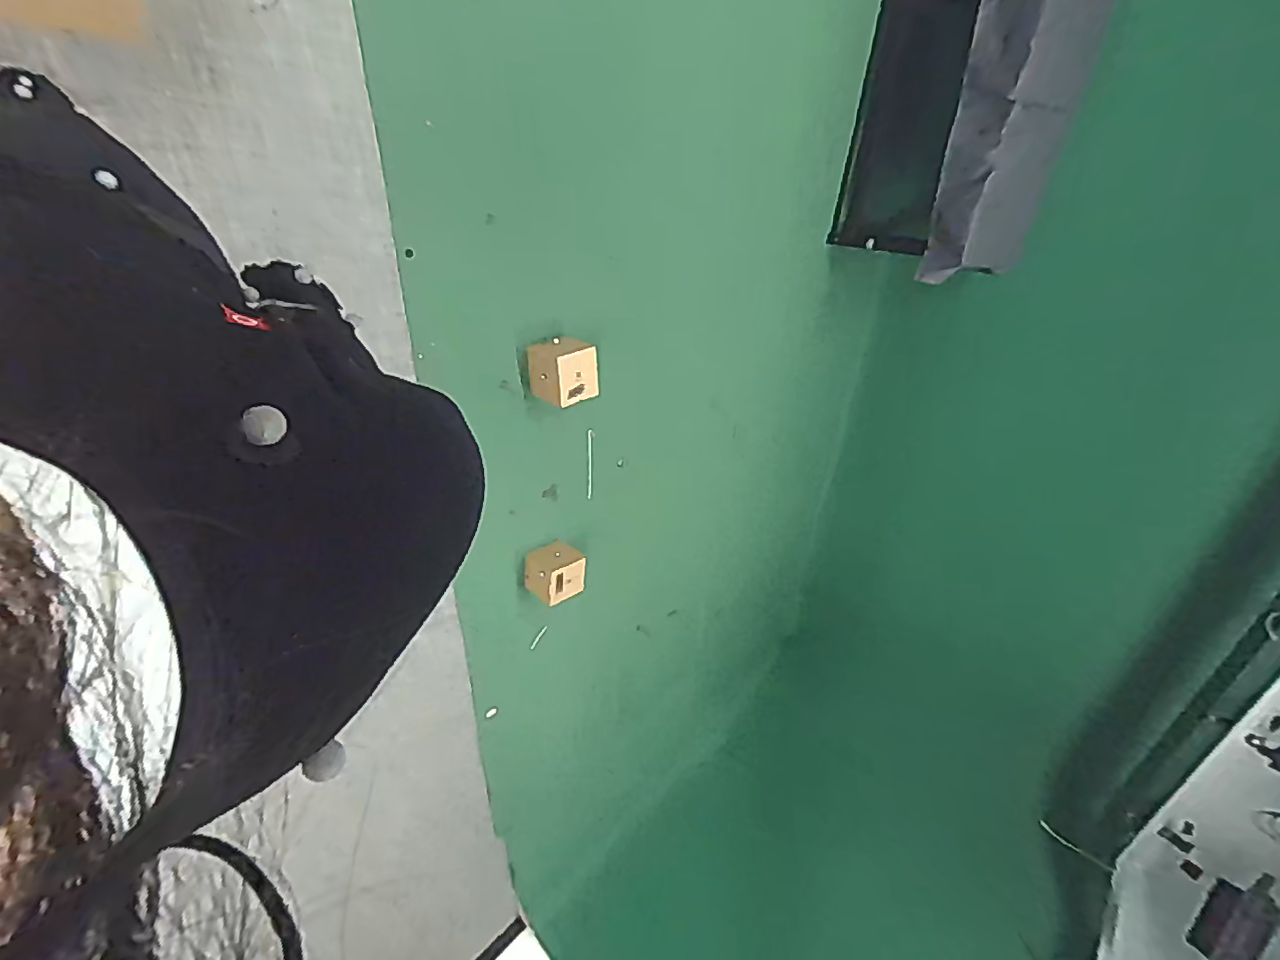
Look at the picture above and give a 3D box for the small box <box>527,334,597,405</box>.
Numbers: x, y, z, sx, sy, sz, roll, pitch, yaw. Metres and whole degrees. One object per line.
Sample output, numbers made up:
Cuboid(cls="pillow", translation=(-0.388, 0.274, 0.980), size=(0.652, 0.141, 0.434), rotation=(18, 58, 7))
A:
Cuboid(cls="small box", translation=(-0.263, -0.378, 1.825), size=(0.168, 0.176, 0.179), rotation=(-28, 131, -38))
